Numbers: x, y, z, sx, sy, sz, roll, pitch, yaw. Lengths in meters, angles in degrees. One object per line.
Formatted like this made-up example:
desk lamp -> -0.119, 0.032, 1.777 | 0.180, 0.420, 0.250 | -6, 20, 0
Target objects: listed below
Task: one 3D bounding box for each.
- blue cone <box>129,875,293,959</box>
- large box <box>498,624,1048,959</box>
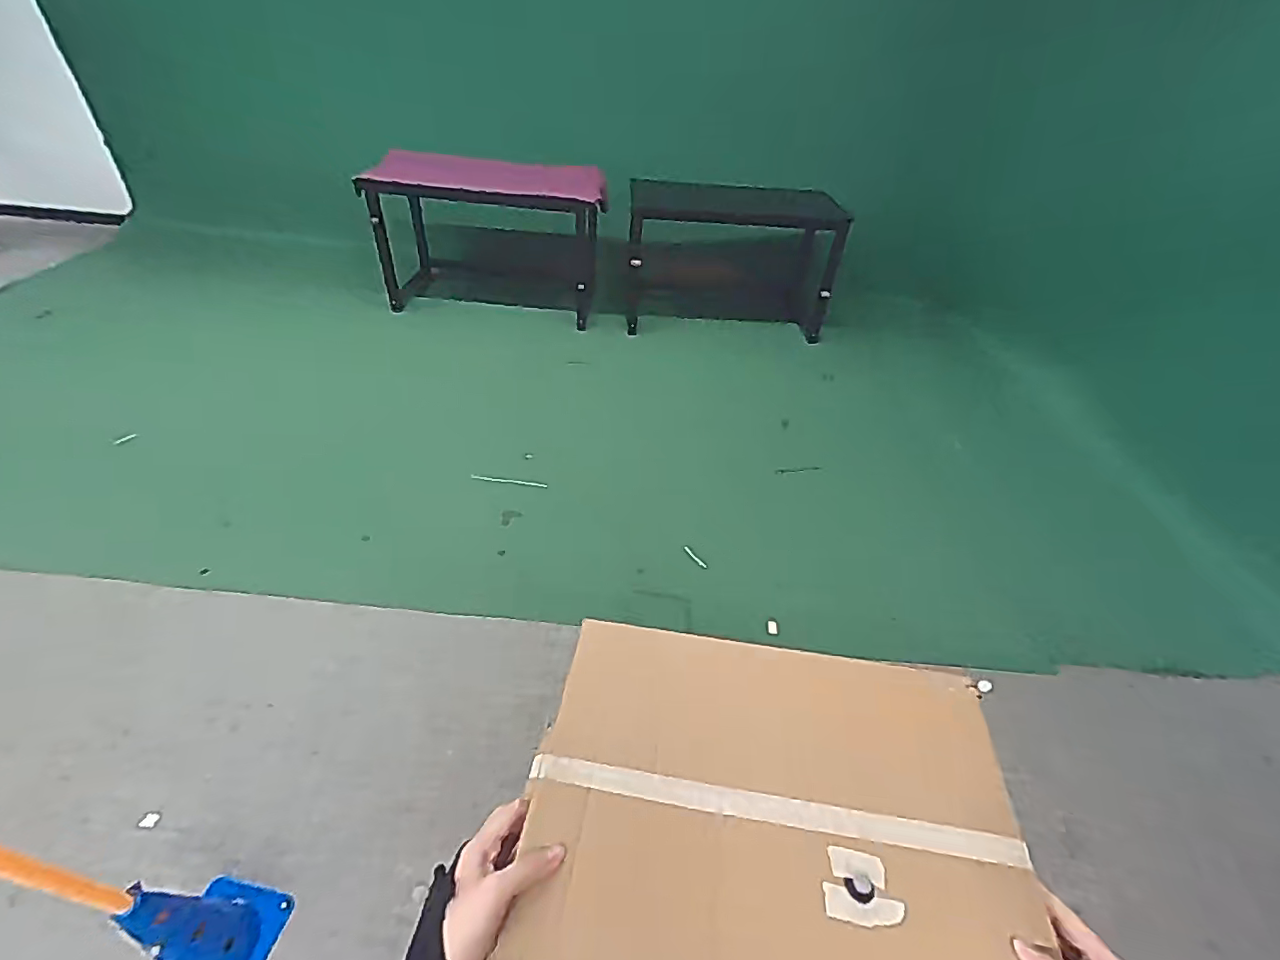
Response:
blue cone -> -0.839, 0.822, 1.004 | 0.193, 0.380, 0.192 | 12, 40, 7
large box -> 0.109, 0.391, 0.565 | 0.408, 0.320, 0.320 | 7, 42, 7
